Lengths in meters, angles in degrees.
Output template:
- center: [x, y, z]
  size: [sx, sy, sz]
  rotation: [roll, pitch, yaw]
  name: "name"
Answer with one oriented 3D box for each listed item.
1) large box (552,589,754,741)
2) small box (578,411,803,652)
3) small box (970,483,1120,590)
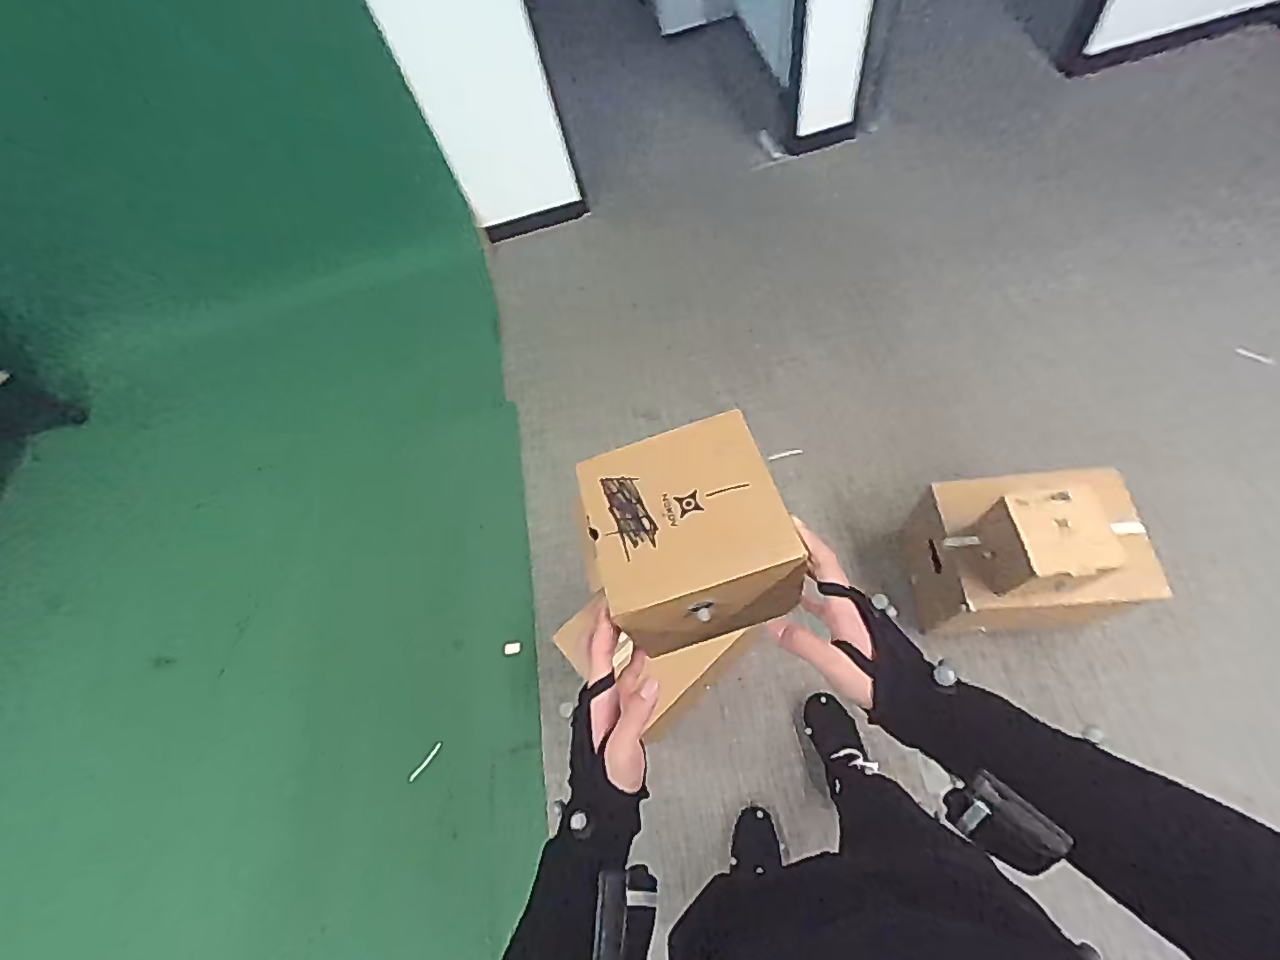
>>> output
- center: [0.054, 0.408, 1.409]
  size: [0.408, 0.320, 0.320]
  rotation: [-42, 63, -10]
  name: "large box"
- center: [0.054, 0.063, 0.561]
  size: [0.179, 0.176, 0.168]
  rotation: [-18, 59, 2]
  name: "small box"
- center: [0.828, 0.127, 1.128]
  size: [0.168, 0.176, 0.179]
  rotation: [-8, 64, 6]
  name: "small box"
